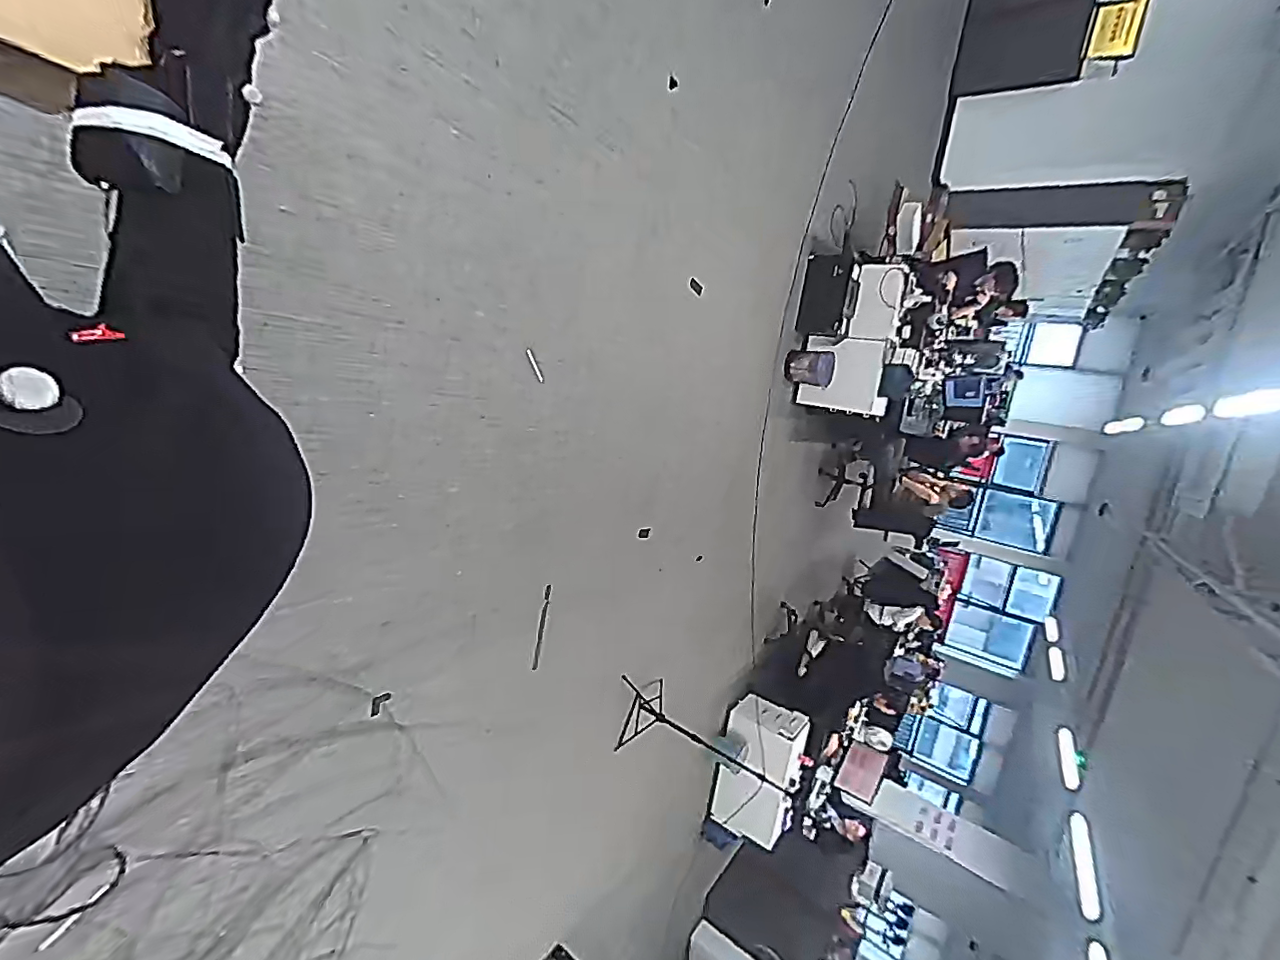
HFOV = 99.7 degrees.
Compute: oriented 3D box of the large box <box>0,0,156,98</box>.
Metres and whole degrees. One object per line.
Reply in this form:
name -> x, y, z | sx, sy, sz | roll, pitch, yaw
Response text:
large box -> -0.541, -0.463, 0.266 | 0.408, 0.320, 0.320 | -3, 113, -57
